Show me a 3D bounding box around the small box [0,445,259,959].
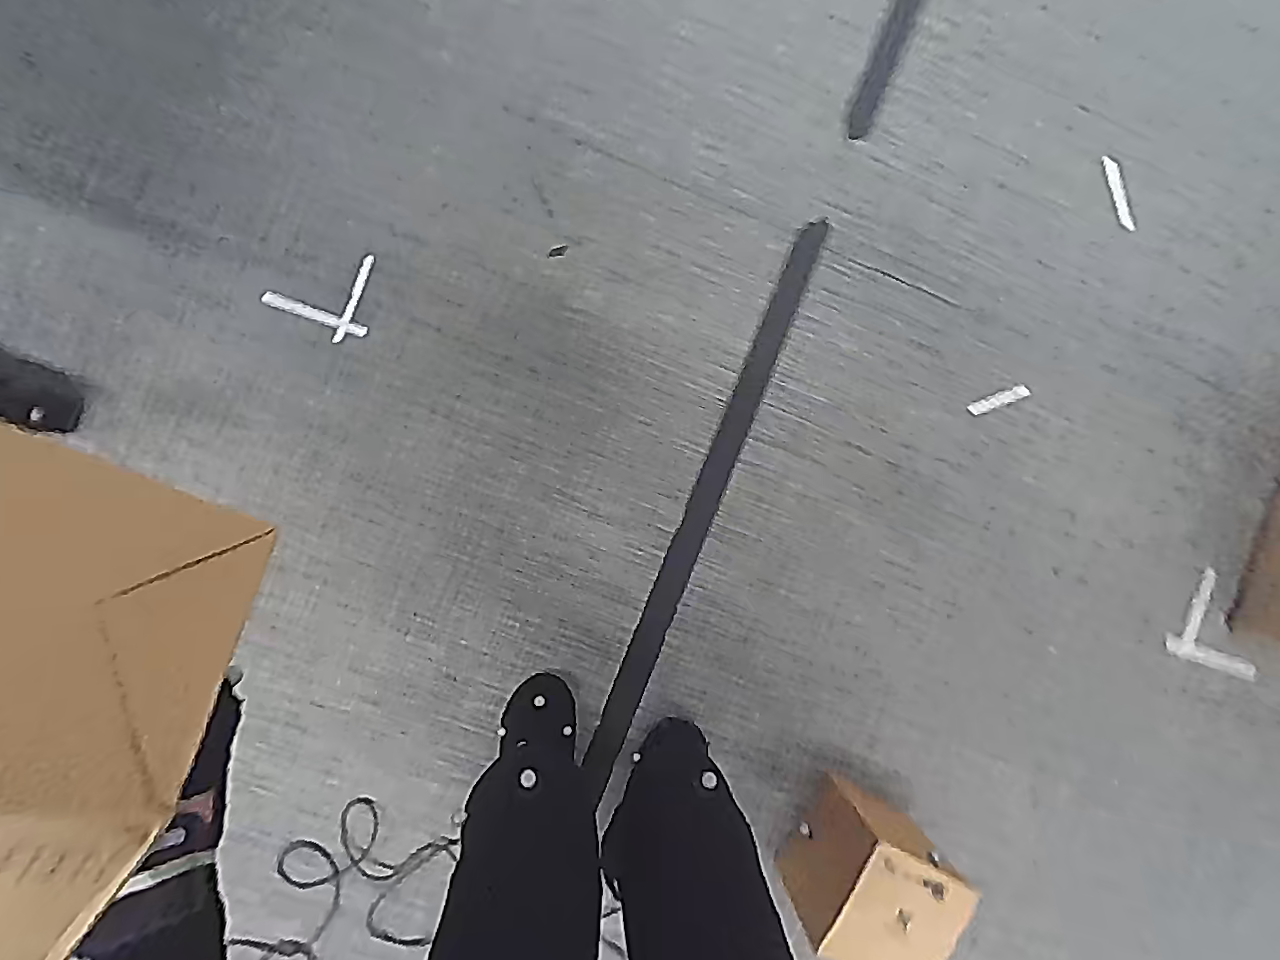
[{"bbox_3d":[-0.291,0.094,0.213,0.168,0.179,0.176,32,105,-33],"label":"small box"}]

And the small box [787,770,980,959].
[{"bbox_3d":[0.338,0.577,0.795,0.168,0.176,0.179,30,89,-4],"label":"small box"}]
